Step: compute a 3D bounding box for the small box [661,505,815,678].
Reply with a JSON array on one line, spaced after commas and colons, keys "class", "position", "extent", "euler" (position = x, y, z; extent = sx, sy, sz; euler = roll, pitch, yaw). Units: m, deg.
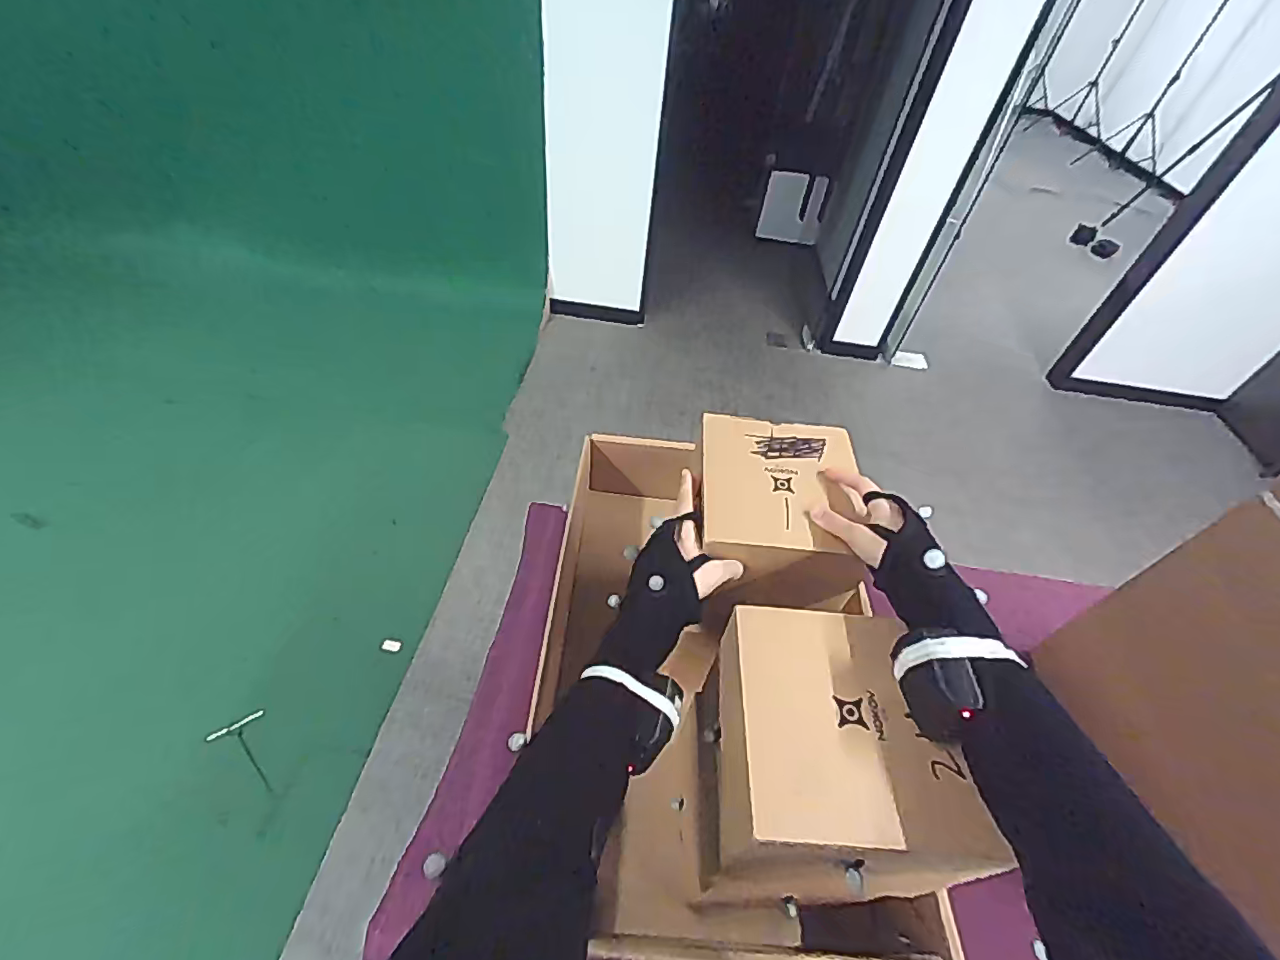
[{"class": "small box", "position": [0.119, 0.155, 0.734], "extent": [0.168, 0.176, 0.179], "euler": [3, 49, -3]}]

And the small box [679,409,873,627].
[{"class": "small box", "position": [0.135, 0.045, 0.614], "extent": [0.168, 0.176, 0.179], "euler": [4, 51, -1]}]
